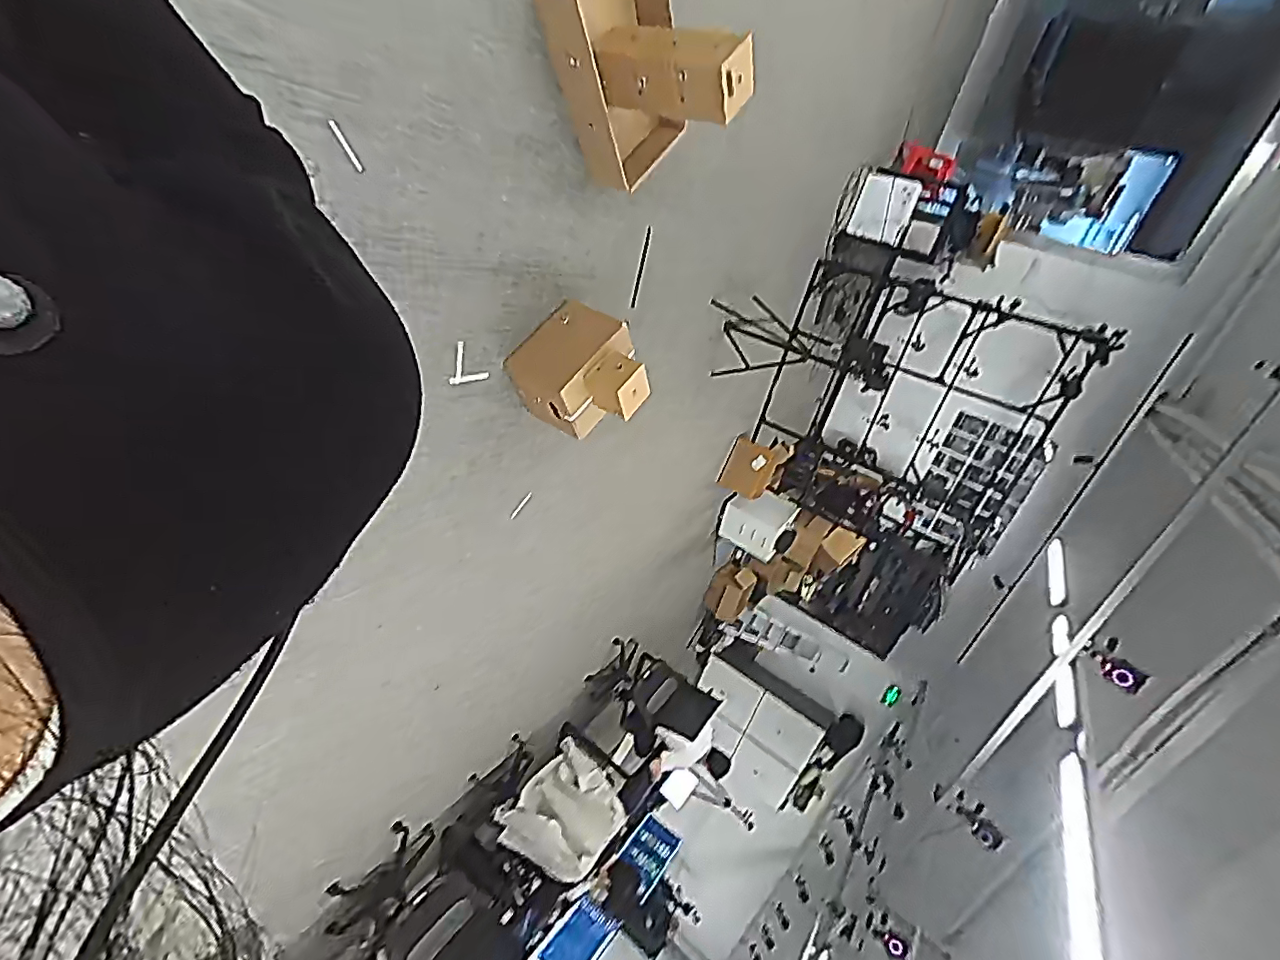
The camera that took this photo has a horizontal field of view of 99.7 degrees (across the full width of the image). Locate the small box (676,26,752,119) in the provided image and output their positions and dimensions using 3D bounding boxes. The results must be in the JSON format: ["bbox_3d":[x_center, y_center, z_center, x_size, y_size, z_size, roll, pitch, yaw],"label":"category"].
[{"bbox_3d":[0.219,-1.227,1.628,0.179,0.176,0.168,-55,154,-16],"label":"small box"}]

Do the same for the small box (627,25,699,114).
[{"bbox_3d":[0.086,-1.293,1.698,0.179,0.176,0.168,-53,153,-16],"label":"small box"}]

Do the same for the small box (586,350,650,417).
[{"bbox_3d":[-0.086,-0.379,2.079,0.168,0.176,0.179,-51,153,-20],"label":"small box"}]

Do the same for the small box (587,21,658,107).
[{"bbox_3d":[-0.044,-1.362,1.766,0.179,0.176,0.168,-53,153,-18],"label":"small box"}]
